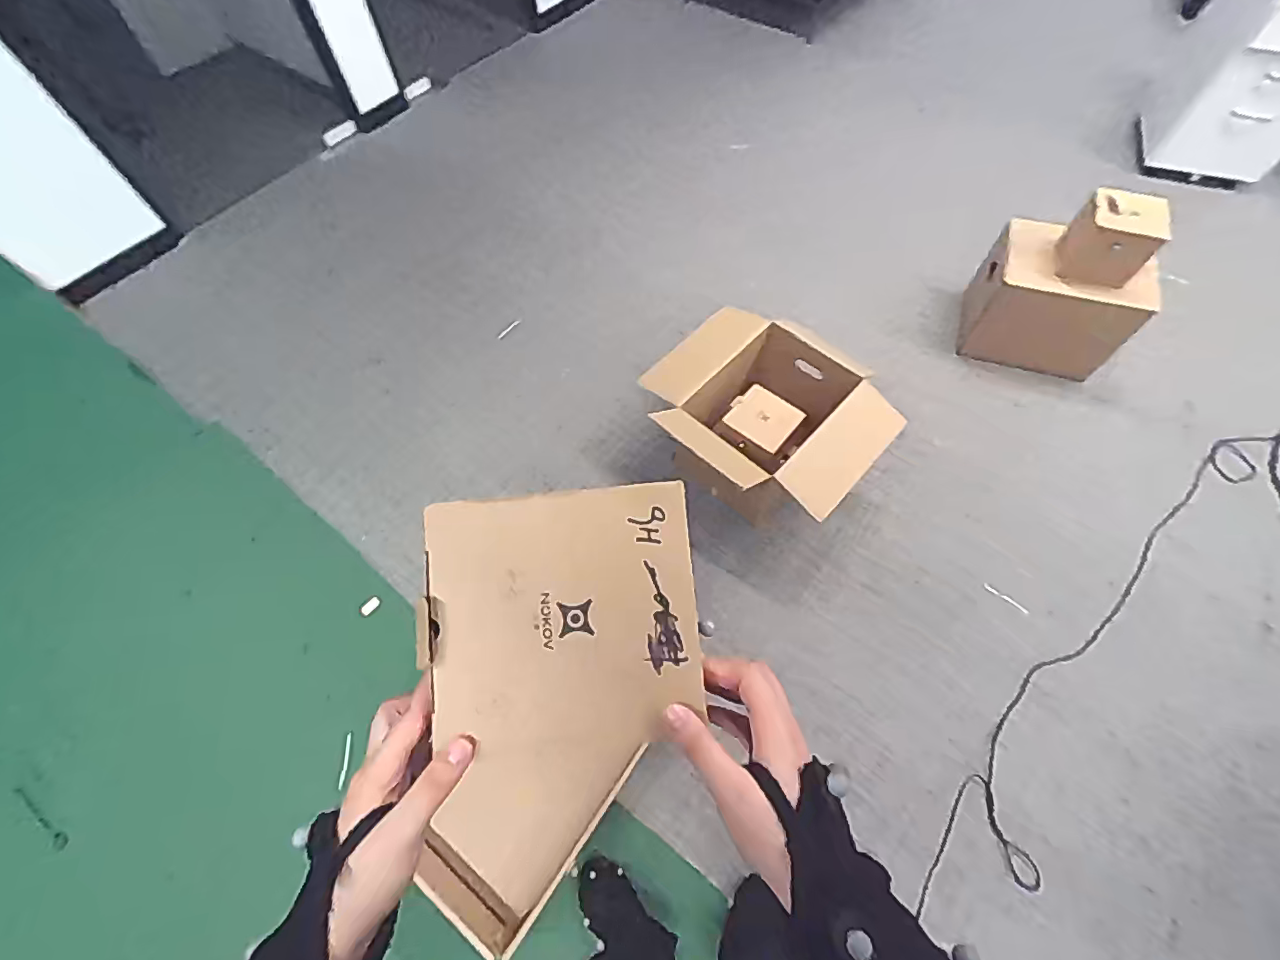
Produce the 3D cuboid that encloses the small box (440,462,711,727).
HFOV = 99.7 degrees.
[{"bbox_3d":[-0.044,0.086,0.438,0.179,0.176,0.168,-5,82,0],"label":"small box"}]

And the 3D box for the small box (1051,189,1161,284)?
[{"bbox_3d":[1.298,-0.680,1.519,0.179,0.176,0.168,17,65,12],"label":"small box"}]
